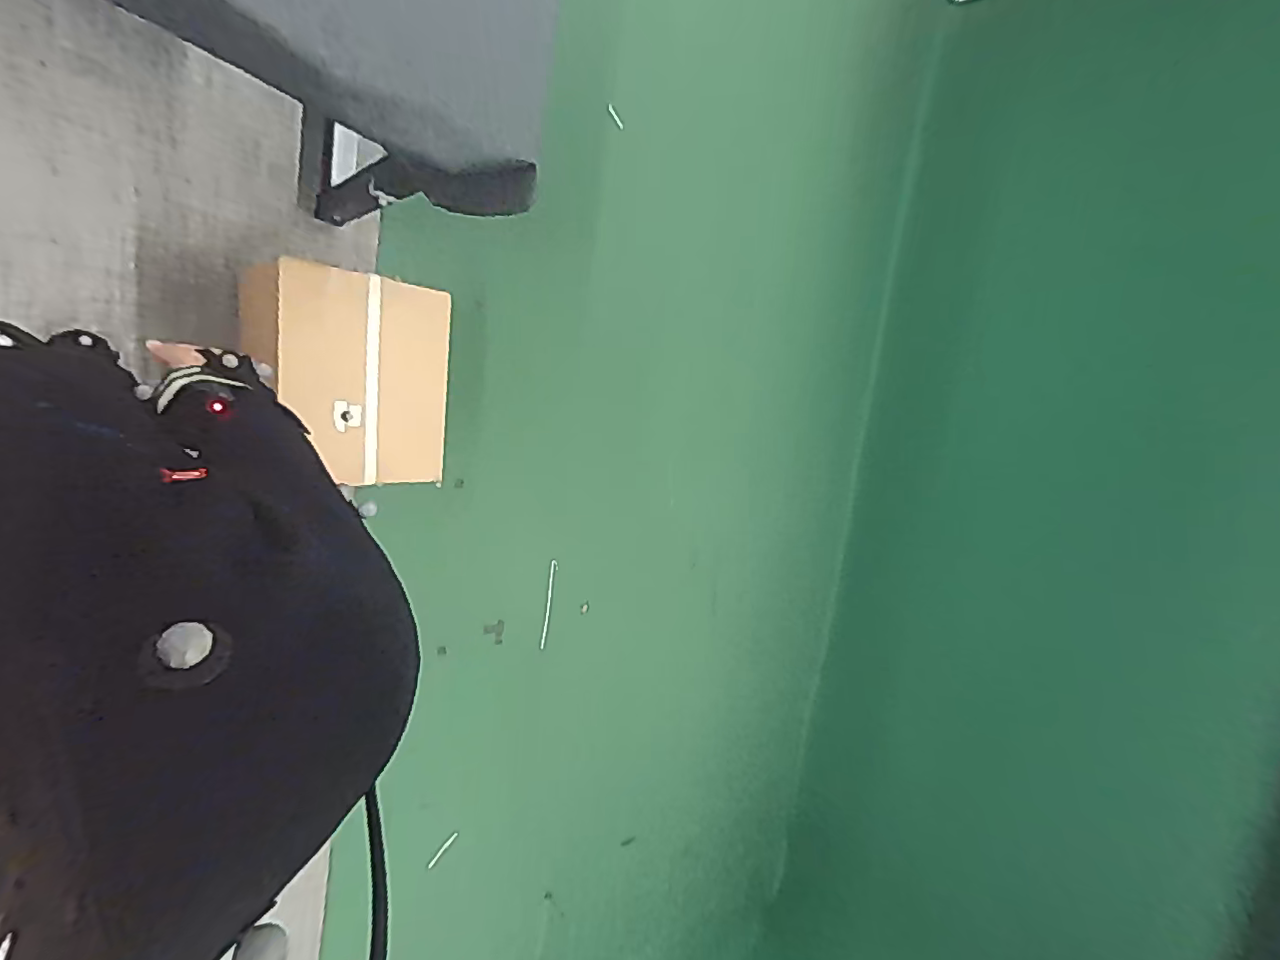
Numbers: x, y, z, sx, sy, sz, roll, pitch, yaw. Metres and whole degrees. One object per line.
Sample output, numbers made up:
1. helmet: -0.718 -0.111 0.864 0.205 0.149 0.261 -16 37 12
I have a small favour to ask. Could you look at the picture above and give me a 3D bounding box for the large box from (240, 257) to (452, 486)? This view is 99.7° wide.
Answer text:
1. large box: -0.623 -0.219 1.147 0.320 0.320 0.408 -3 103 -46
